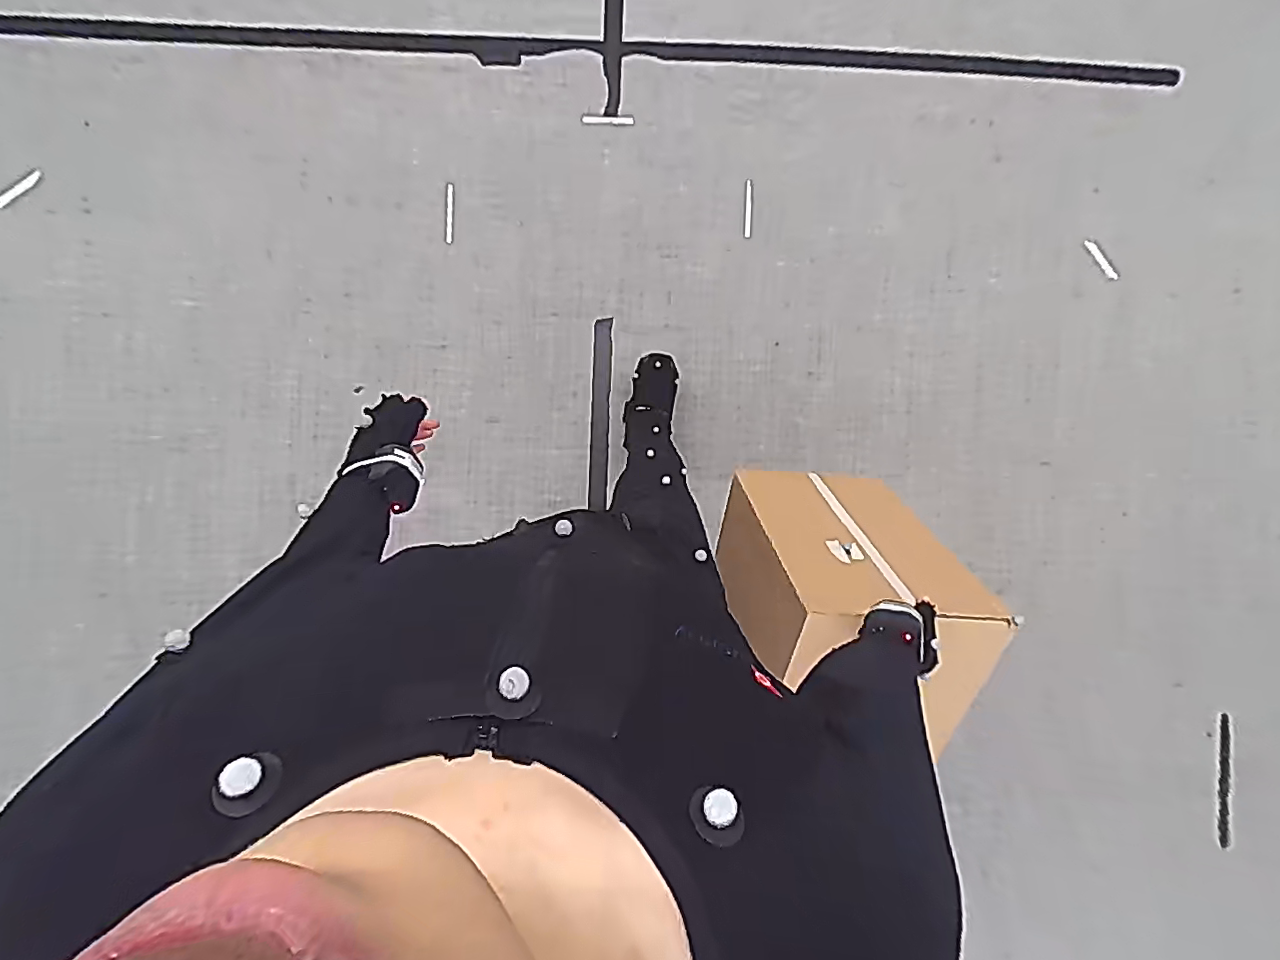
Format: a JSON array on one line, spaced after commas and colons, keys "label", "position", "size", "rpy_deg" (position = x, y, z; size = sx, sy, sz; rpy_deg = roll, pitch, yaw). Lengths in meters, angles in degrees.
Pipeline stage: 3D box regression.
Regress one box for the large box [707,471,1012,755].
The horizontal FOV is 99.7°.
[{"label": "large box", "position": [0.337, 0.221, 0.981], "size": [0.320, 0.408, 0.320], "rpy_deg": [4, 119, -8]}]
